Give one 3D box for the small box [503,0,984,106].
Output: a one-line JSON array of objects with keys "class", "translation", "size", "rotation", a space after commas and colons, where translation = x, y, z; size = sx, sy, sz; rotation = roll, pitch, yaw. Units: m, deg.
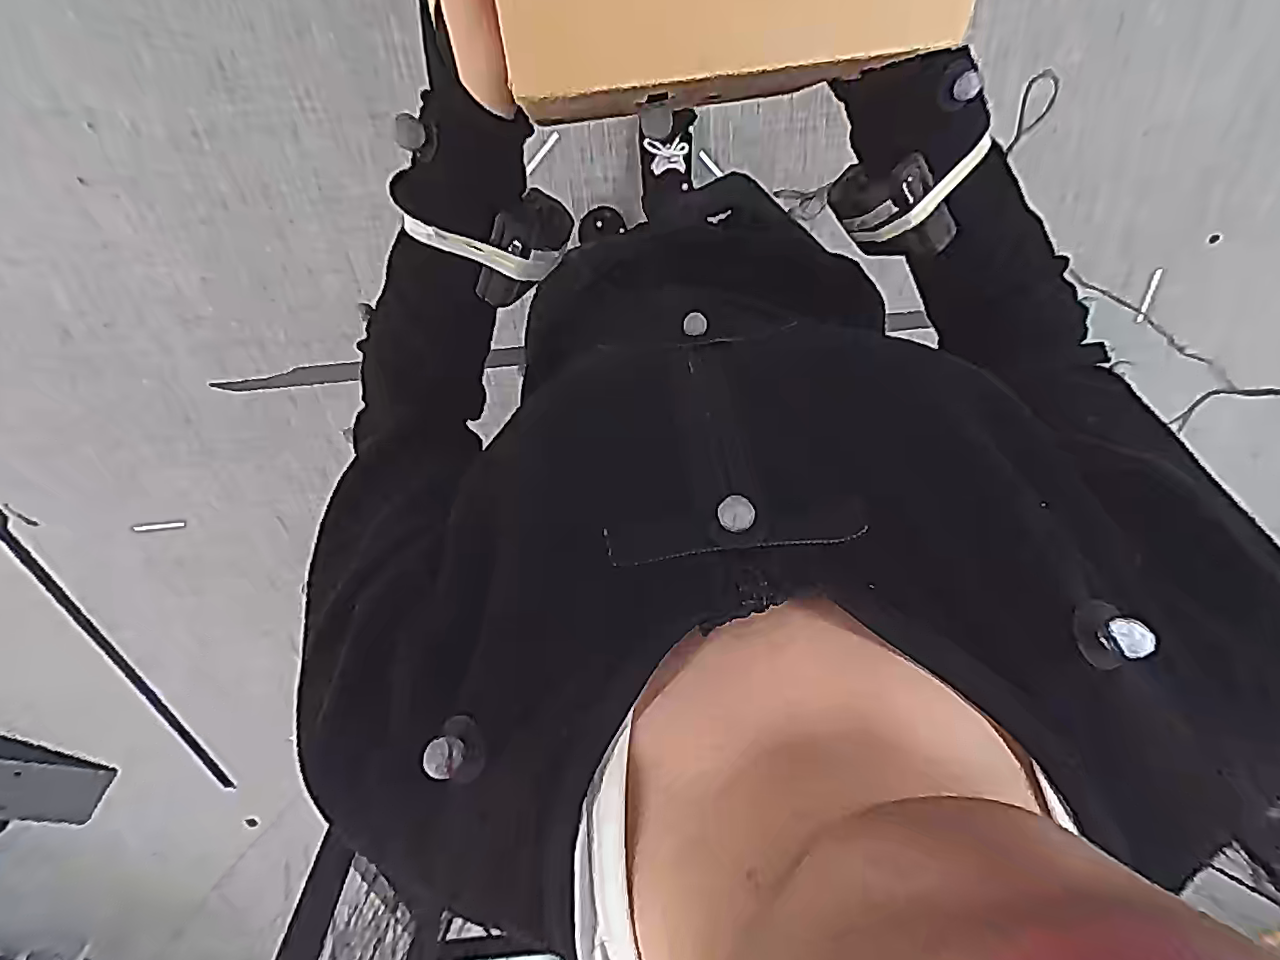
[{"class": "small box", "translation": [0.022, -0.261, 0.211], "size": [0.168, 0.176, 0.179], "rotation": [-9, 120, -2]}]
